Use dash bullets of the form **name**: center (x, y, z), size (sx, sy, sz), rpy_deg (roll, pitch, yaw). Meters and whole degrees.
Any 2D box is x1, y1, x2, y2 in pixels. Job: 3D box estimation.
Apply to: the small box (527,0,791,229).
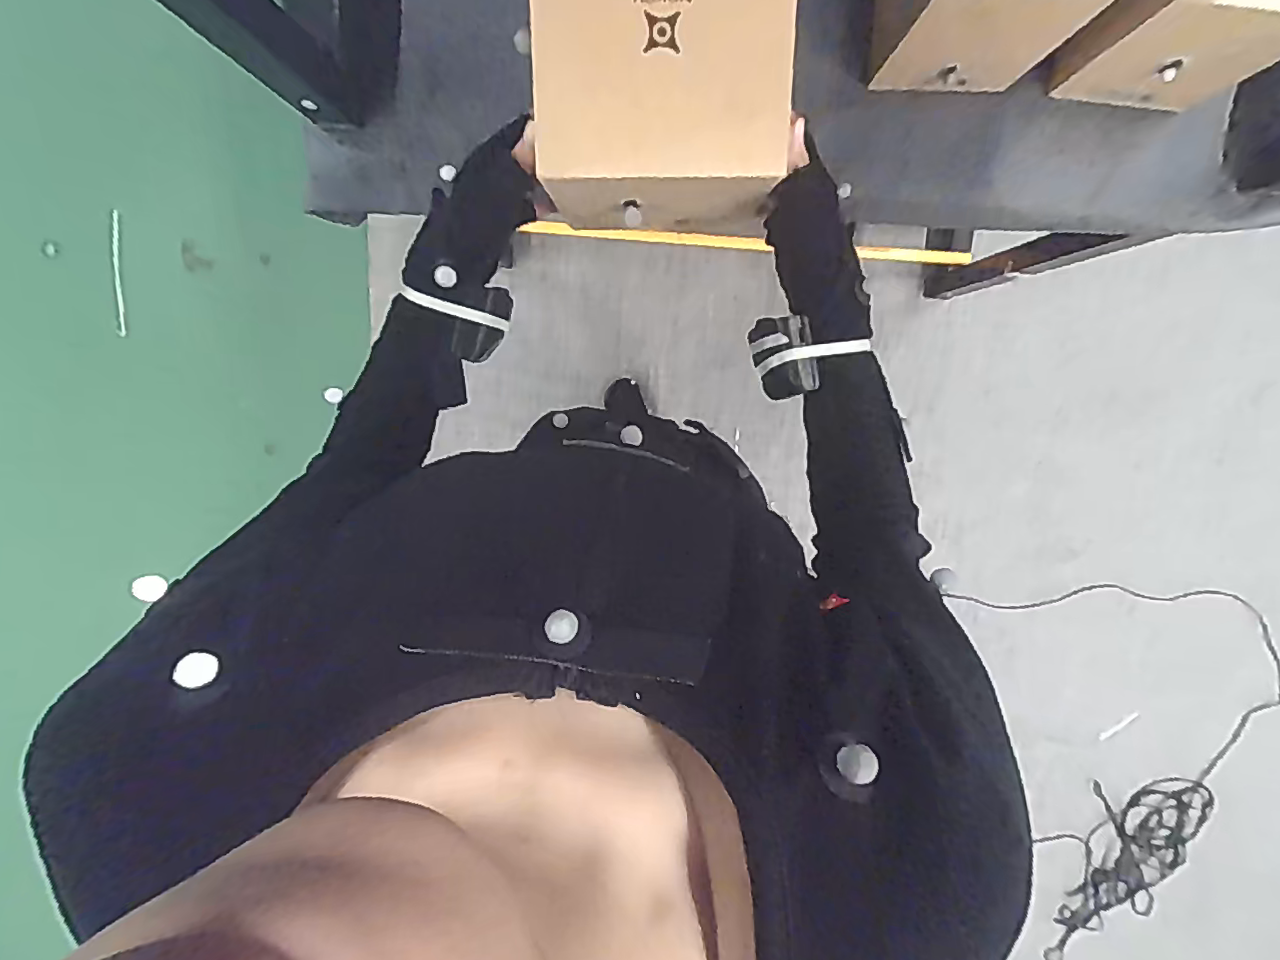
- **small box**: center (0.014, -0.300, 0.413), size (0.168, 0.176, 0.179), rpy_deg (0, 103, 1)
